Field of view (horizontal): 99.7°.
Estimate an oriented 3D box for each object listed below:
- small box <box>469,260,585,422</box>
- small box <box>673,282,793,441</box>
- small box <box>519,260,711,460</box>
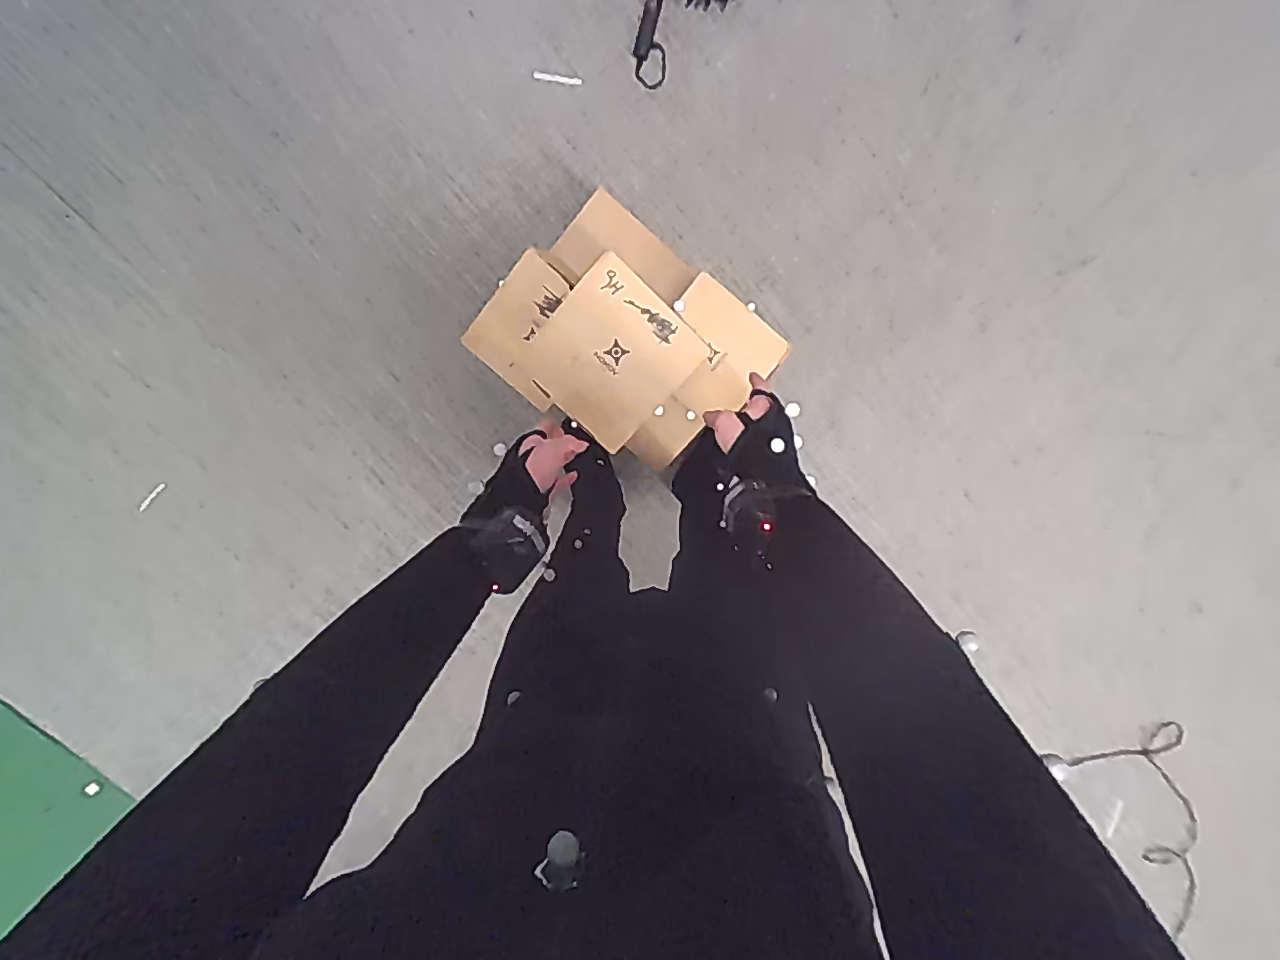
[{"bbox_3d":[-0.137,-0.225,0.872,0.168,0.176,0.179,41,106,-8],"label":"small box"},{"bbox_3d":[0.111,-0.190,0.871,0.179,0.176,0.168,37,101,-6],"label":"small box"},{"bbox_3d":[-0.024,-0.158,0.713,0.168,0.176,0.179,43,105,-8],"label":"small box"}]
